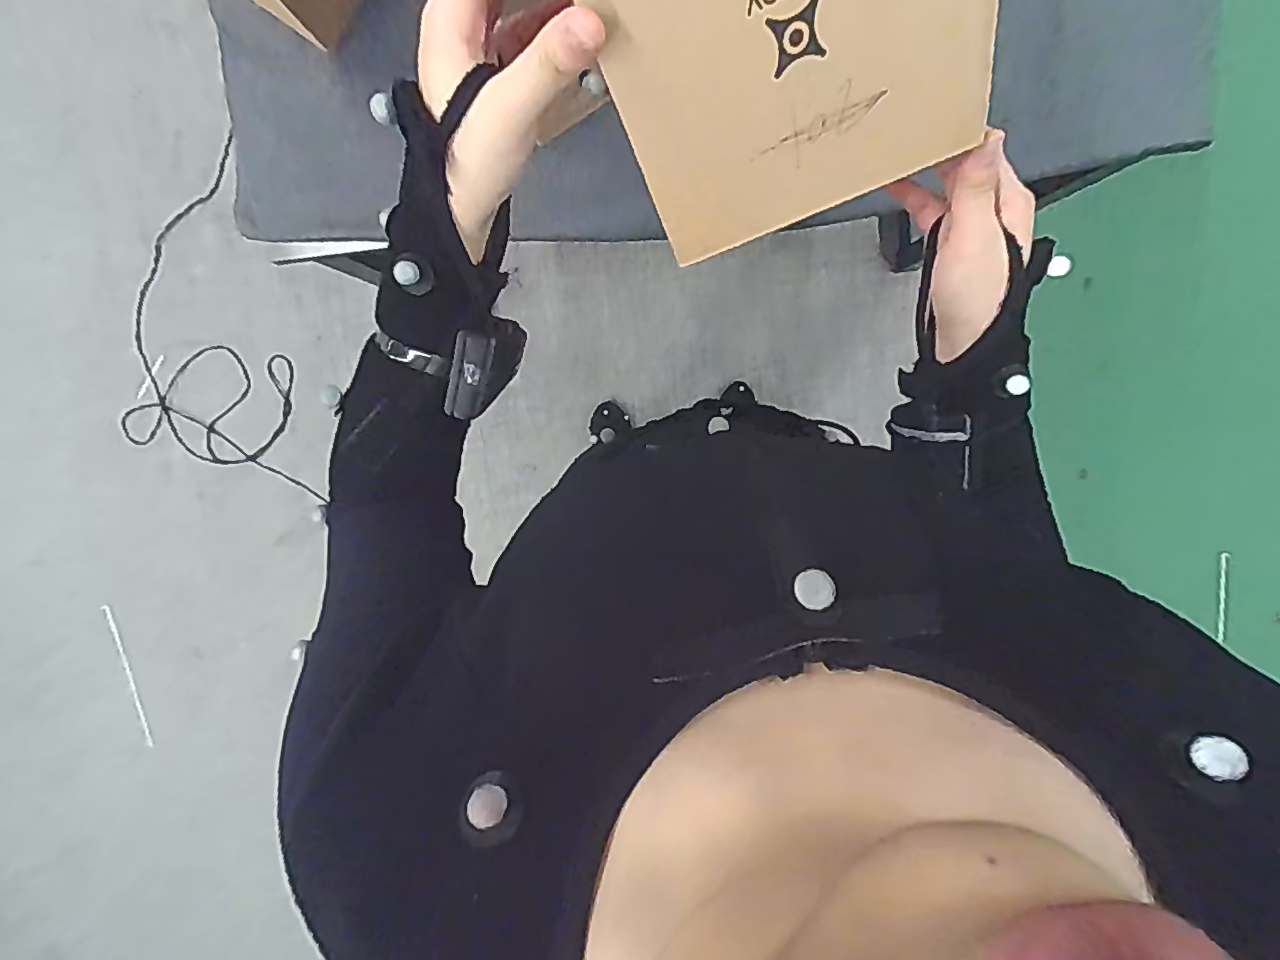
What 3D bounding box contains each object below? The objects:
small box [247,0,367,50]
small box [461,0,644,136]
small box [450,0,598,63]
[{"bbox_3d":[-0.413,-0.629,0.585,0.179,0.176,0.168,34,98,-4],"label":"small box"},{"bbox_3d":[-0.103,-0.520,0.592,0.168,0.176,0.179,-31,96,5],"label":"small box"},{"bbox_3d":[-0.112,-0.489,0.433,0.168,0.176,0.179,-42,95,7],"label":"small box"}]
